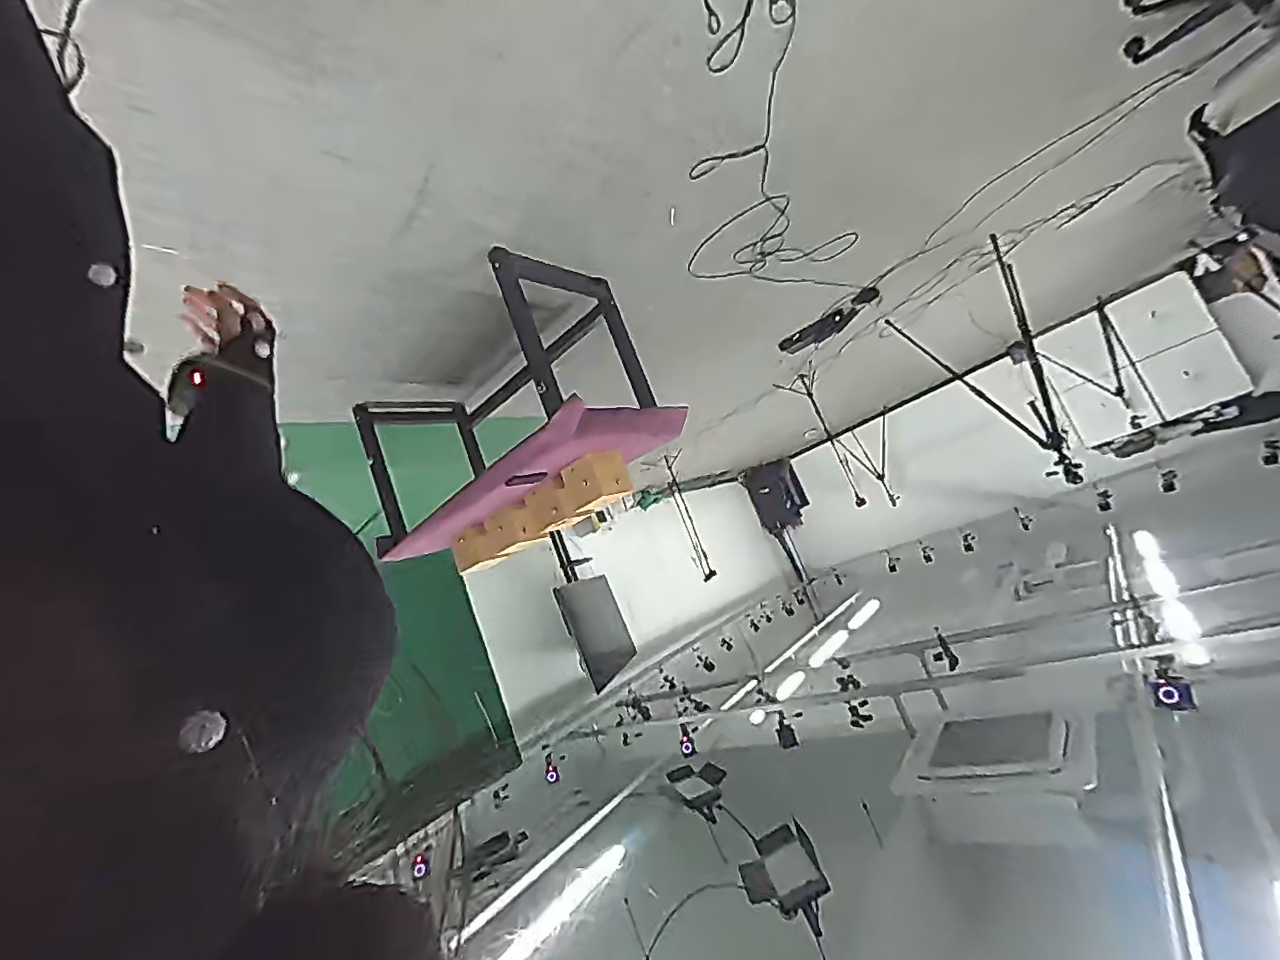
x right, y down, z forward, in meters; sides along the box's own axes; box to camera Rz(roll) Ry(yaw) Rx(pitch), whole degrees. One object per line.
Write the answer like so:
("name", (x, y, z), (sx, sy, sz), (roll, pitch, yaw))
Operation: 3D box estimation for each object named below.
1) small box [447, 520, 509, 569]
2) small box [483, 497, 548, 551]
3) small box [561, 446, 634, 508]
("small box", (-0.718, 0.278, 2.396), (0.168, 0.176, 0.179), (-28, 169, 31))
("small box", (-0.524, 0.178, 2.254), (0.168, 0.176, 0.179), (-27, 169, 32))
("small box", (-0.160, -0.015, 1.969), (0.168, 0.176, 0.179), (-29, 169, 38))
